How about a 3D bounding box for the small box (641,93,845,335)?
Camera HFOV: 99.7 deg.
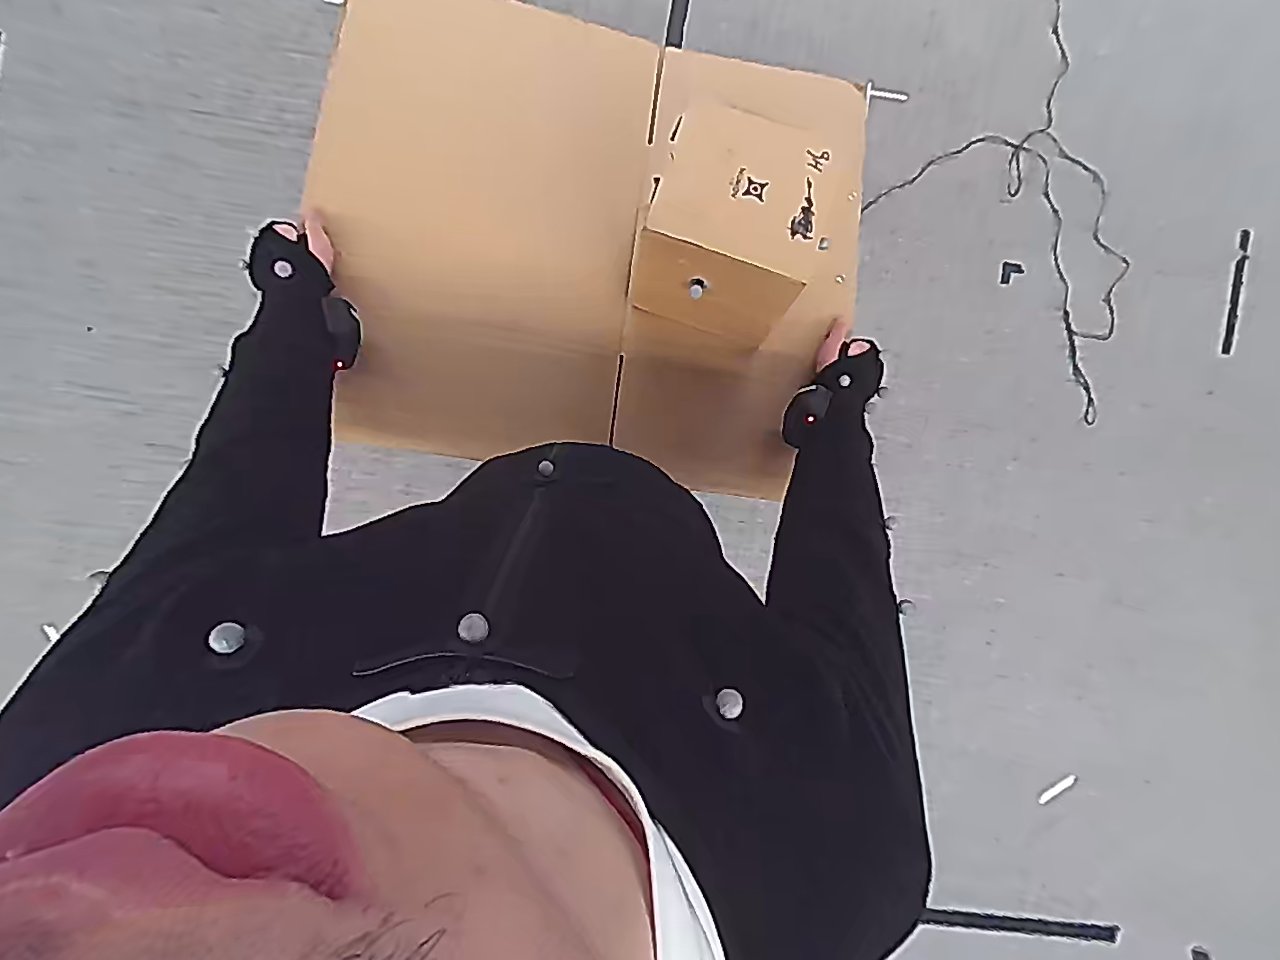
[{"bbox_3d":[0.106,-0.293,0.633,0.179,0.176,0.168,18,81,-1],"label":"small box"}]
